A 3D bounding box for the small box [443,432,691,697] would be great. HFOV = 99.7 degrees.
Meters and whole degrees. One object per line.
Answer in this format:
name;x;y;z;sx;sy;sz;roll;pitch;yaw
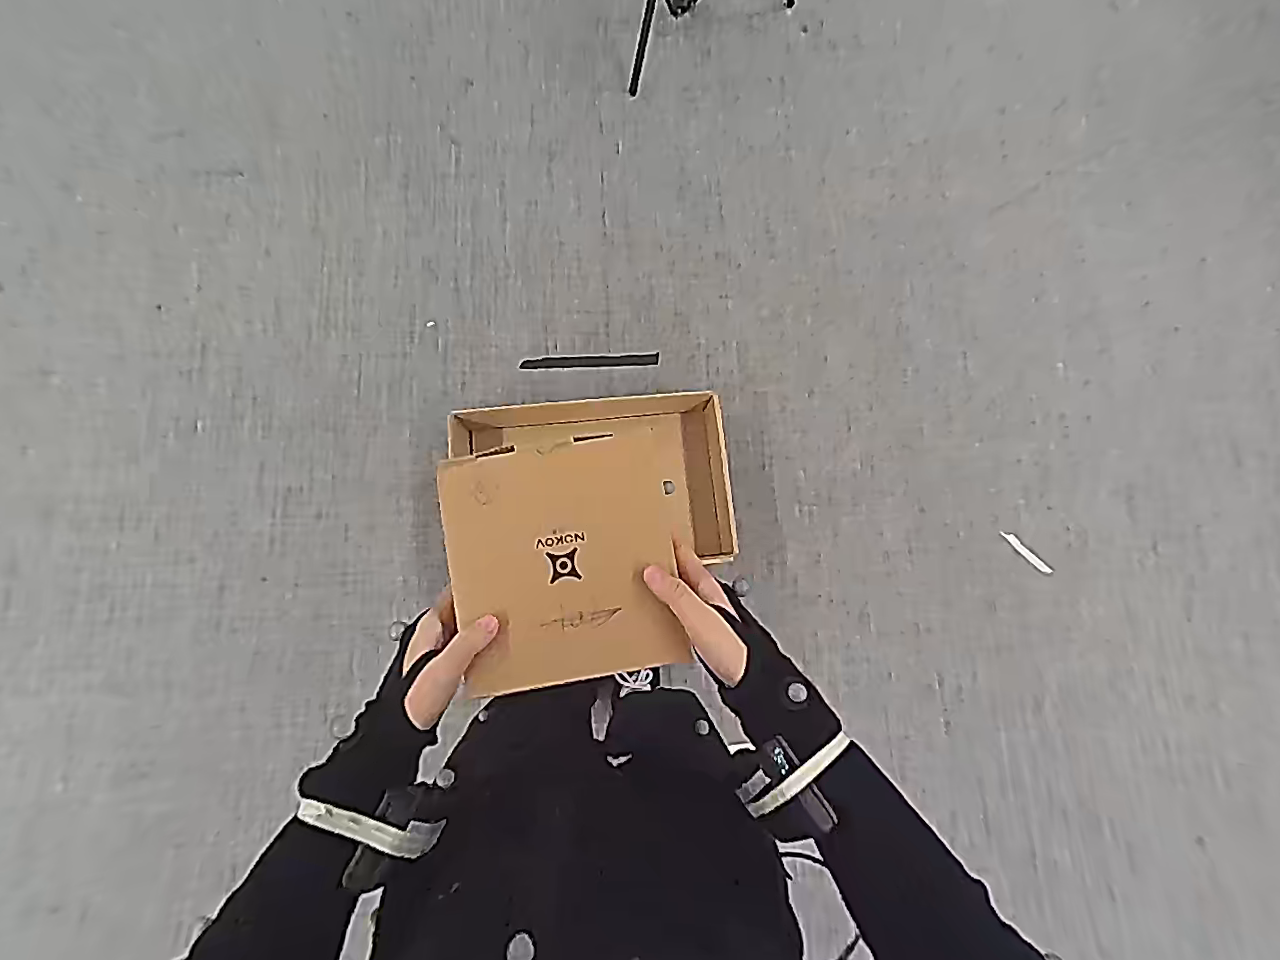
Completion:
small box;-0.058;0.067;0.479;0.168;0.176;0.179;-9;86;-3
